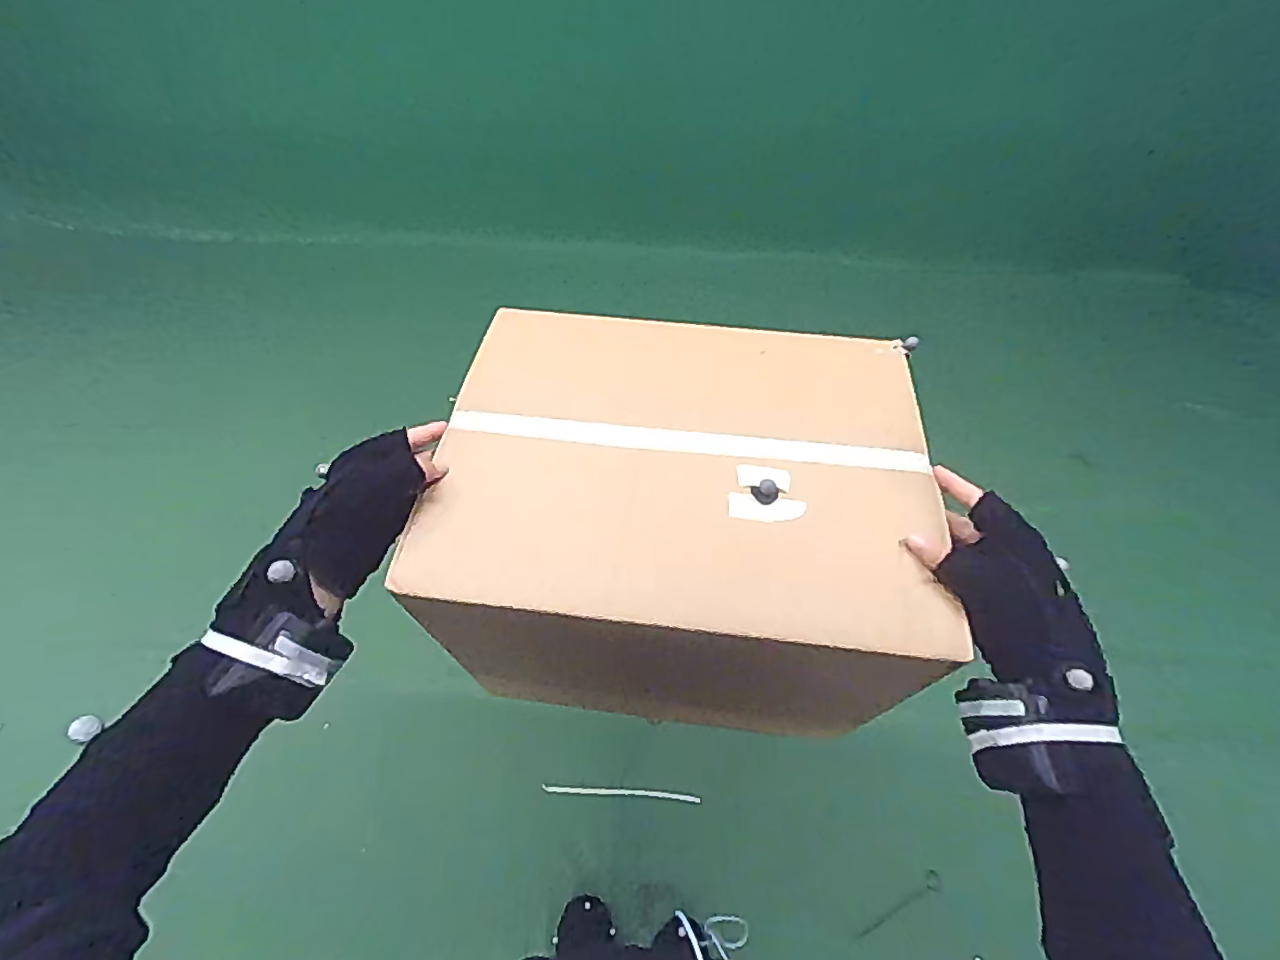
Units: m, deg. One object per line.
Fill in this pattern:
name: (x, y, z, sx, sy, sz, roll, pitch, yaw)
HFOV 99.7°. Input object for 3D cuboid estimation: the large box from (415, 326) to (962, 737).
large box: (0.042, 0.065, 0.591, 0.408, 0.320, 0.320, 6, 55, 3)
